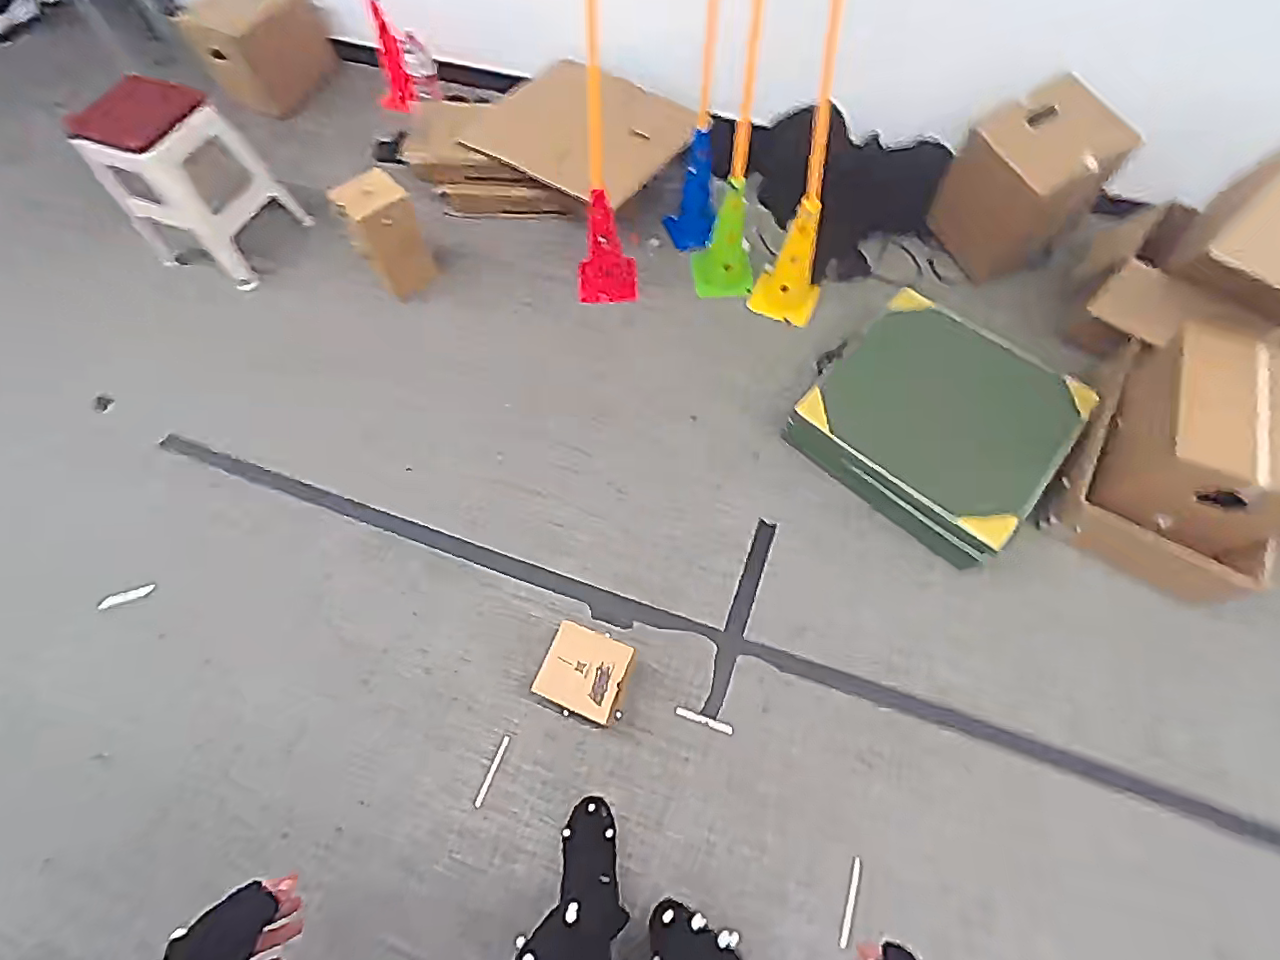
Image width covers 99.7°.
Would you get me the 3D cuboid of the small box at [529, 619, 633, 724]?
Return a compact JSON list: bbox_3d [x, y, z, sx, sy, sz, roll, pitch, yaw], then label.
[{"bbox_3d":[-0.125,0.442,1.240,0.179,0.176,0.168,21,66,11],"label":"small box"}]
